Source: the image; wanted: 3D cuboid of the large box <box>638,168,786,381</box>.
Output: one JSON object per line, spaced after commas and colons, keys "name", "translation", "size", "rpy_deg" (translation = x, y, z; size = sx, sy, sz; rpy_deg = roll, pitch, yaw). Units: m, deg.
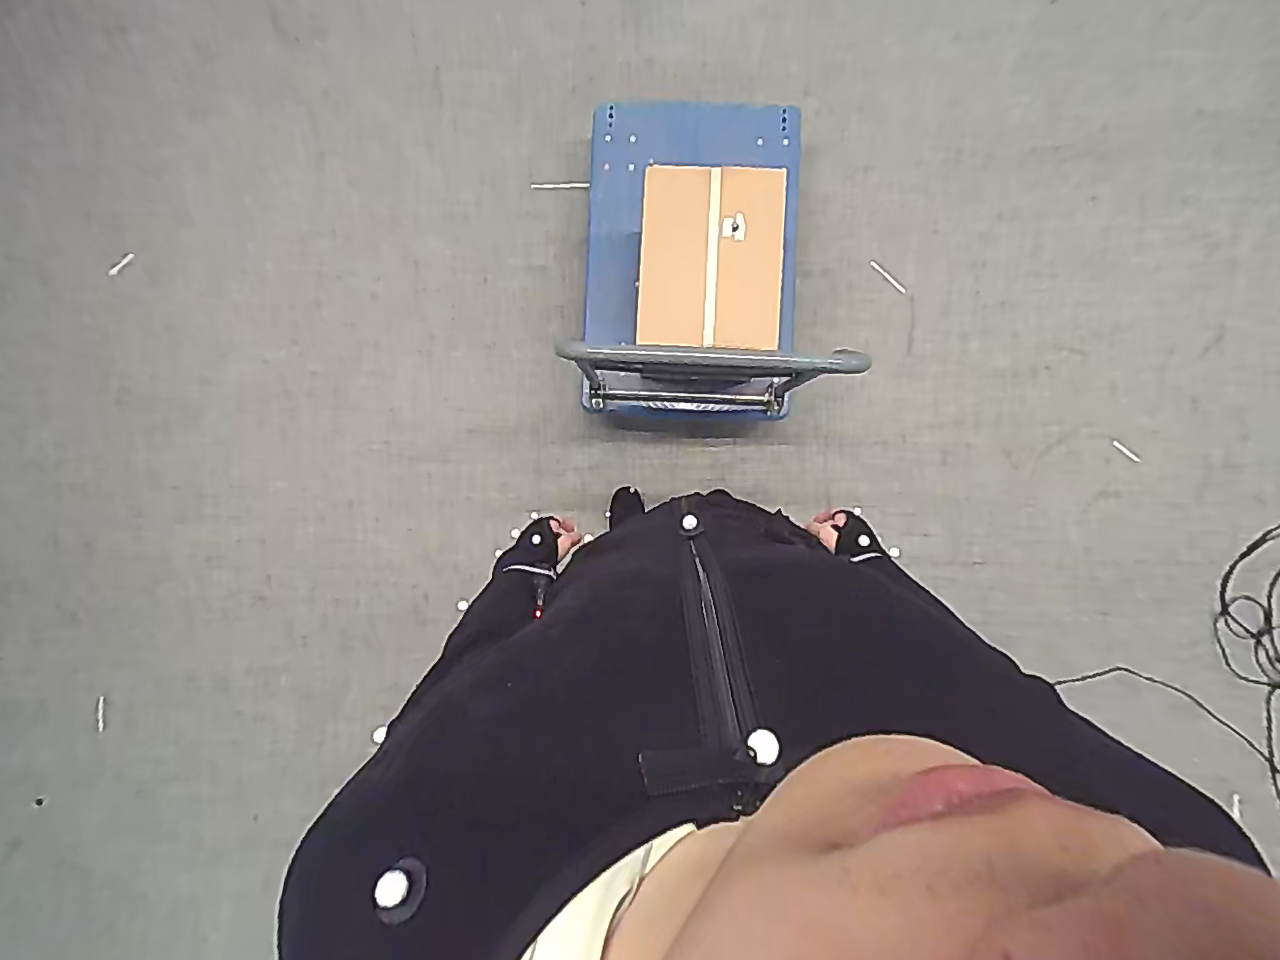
{"name": "large box", "translation": [0.163, -0.473, 1.321], "size": [0.320, 0.320, 0.408], "rpy_deg": [3, 88, 1]}
